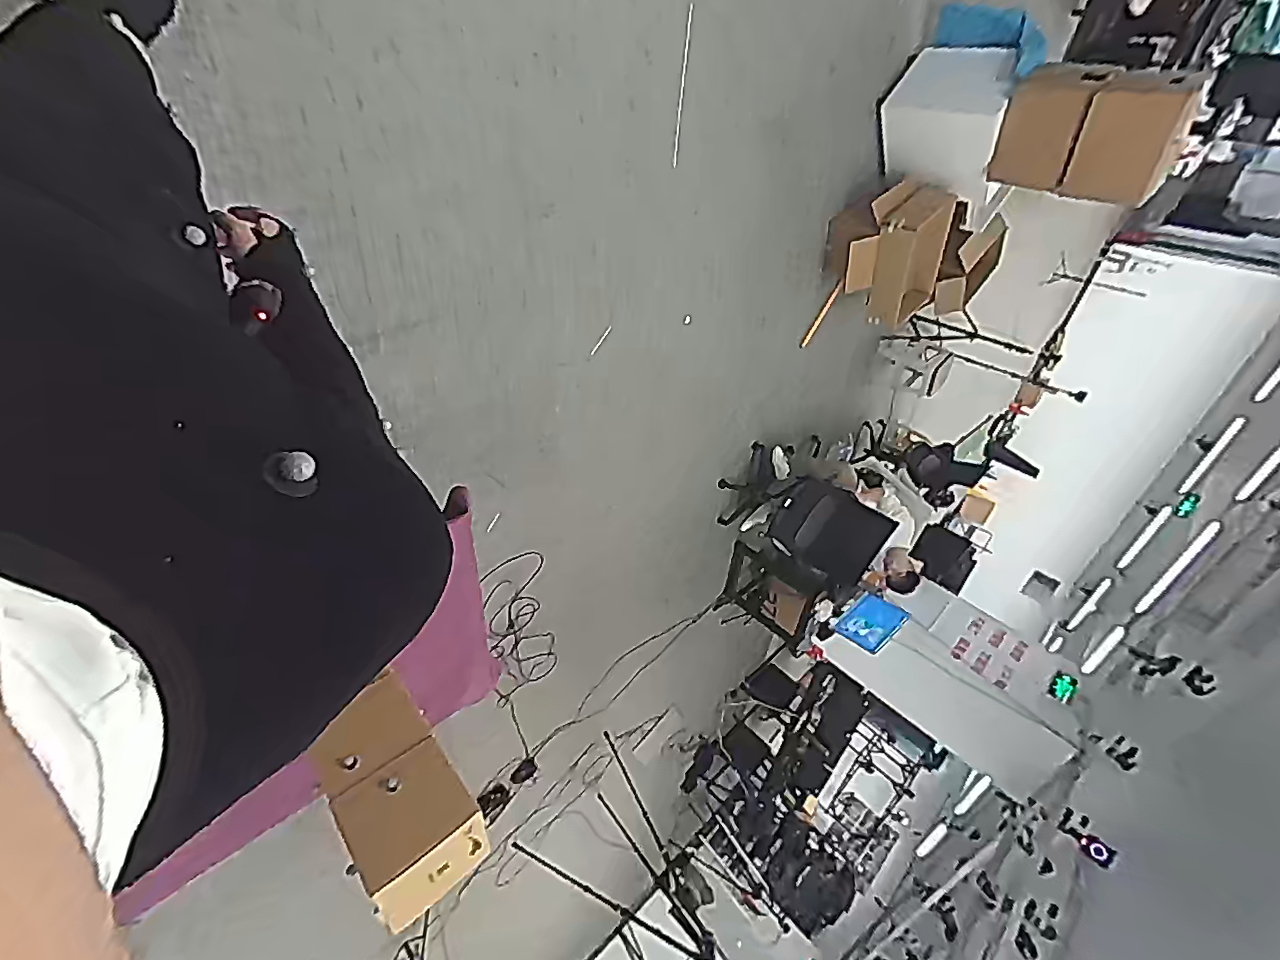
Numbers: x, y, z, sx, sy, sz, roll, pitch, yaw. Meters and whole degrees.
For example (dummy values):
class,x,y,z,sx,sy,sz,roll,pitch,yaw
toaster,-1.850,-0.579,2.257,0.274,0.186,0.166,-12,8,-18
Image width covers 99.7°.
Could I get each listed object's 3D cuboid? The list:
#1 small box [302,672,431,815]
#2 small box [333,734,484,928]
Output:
class,x,y,z,sx,sy,sz,roll,pitch,yaw
small box,-0.493,0.495,0.990,0.179,0.176,0.168,-25,136,-36
small box,-0.384,0.569,0.895,0.179,0.176,0.168,-25,136,-35
